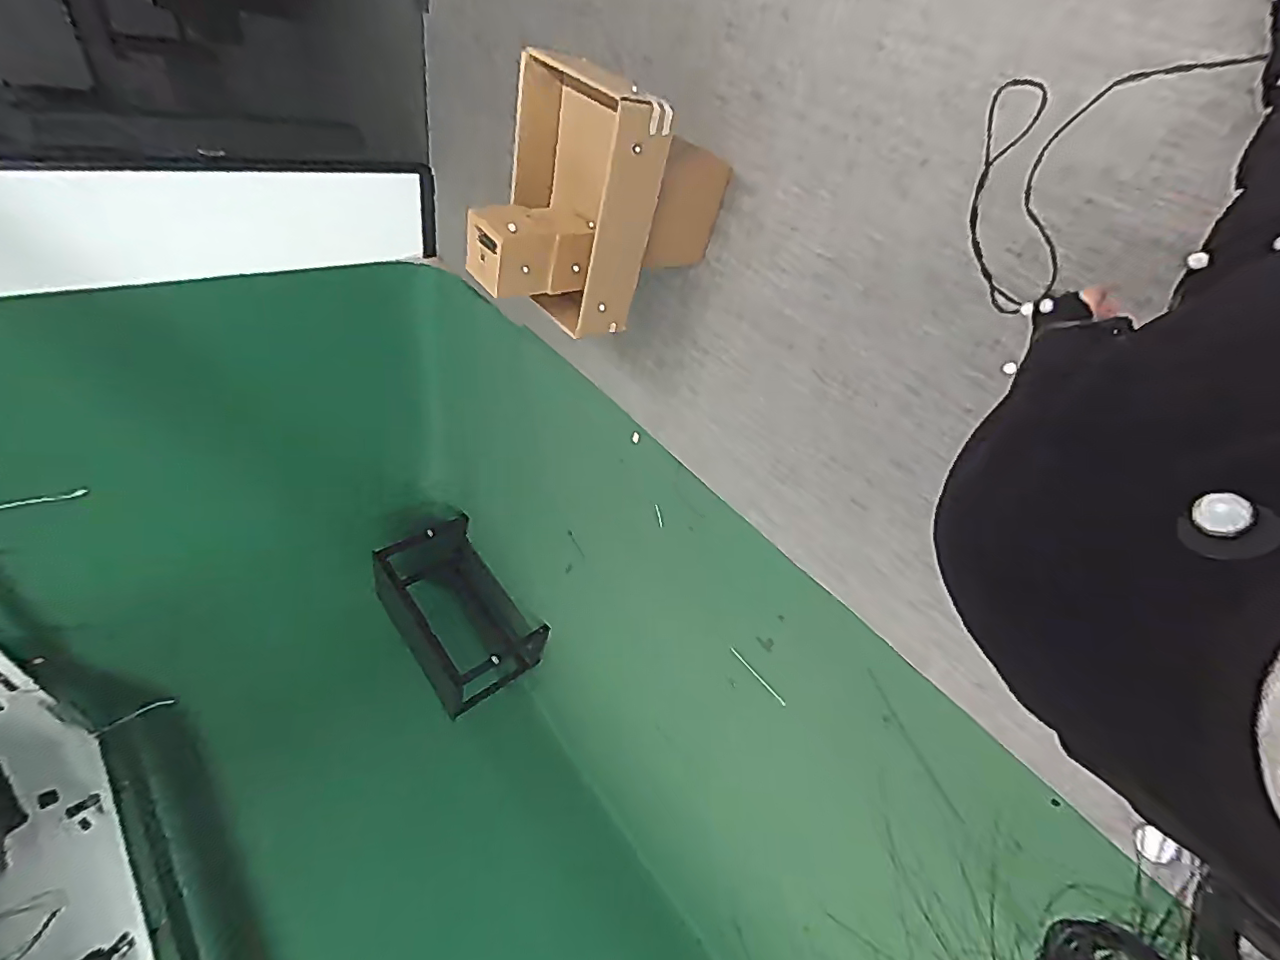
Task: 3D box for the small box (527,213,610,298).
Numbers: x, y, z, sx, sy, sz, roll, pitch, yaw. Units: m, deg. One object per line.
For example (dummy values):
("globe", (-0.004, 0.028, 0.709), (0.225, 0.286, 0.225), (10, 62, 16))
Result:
("small box", (-0.209, -0.665, 1.592), (0.168, 0.176, 0.179), (46, 138, 25))
